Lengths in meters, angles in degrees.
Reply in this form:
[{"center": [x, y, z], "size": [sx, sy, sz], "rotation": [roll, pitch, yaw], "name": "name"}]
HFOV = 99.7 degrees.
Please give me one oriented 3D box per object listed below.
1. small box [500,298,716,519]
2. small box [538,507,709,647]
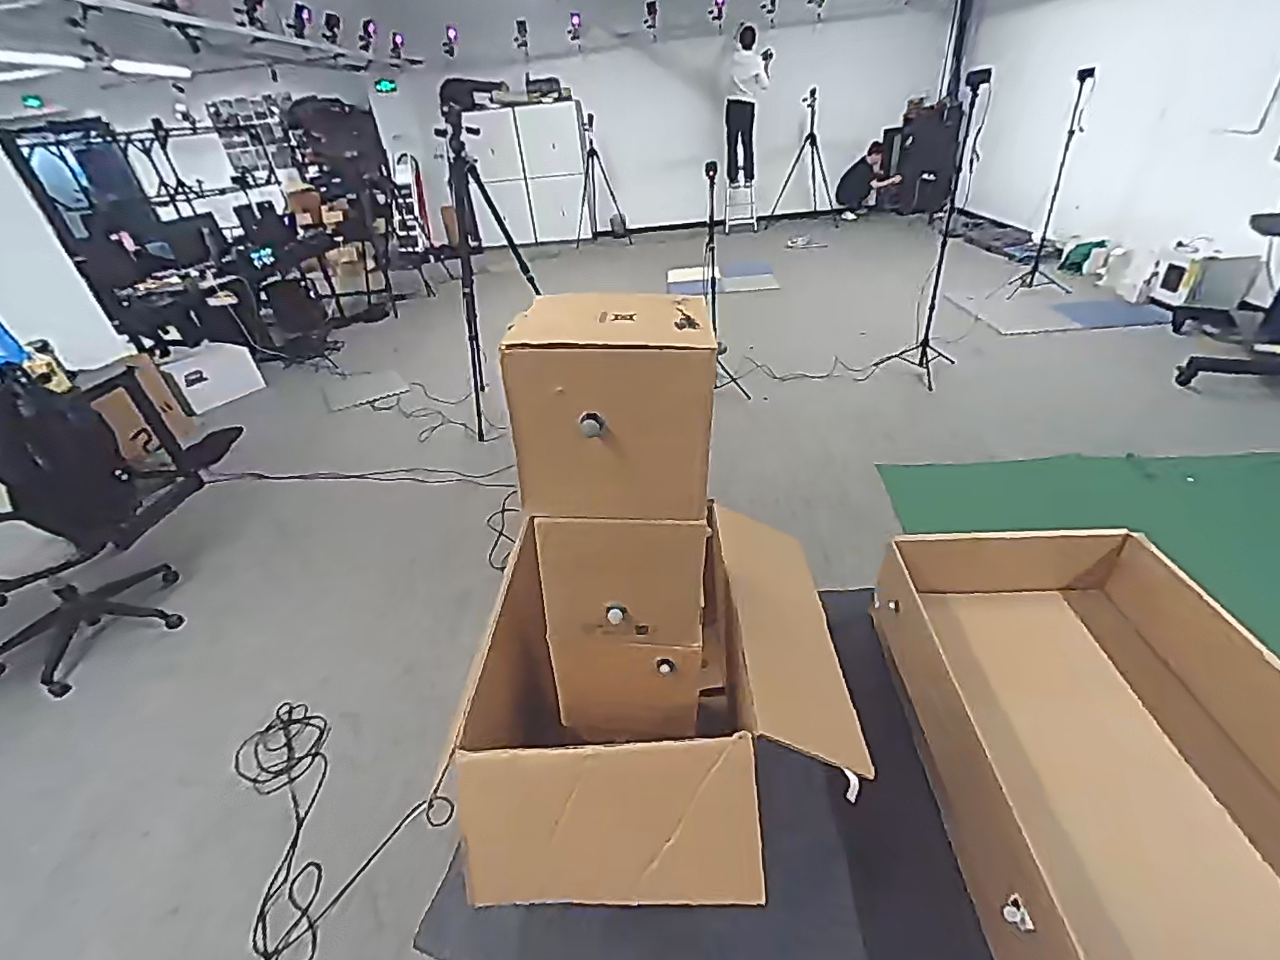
[{"center": [-0.020, -0.073, 0.534], "size": [0.179, 0.176, 0.168], "rotation": [0, 33, 2], "name": "small box"}, {"center": [-0.013, 0.065, 0.622], "size": [0.168, 0.176, 0.179], "rotation": [1, 33, 2], "name": "small box"}]
